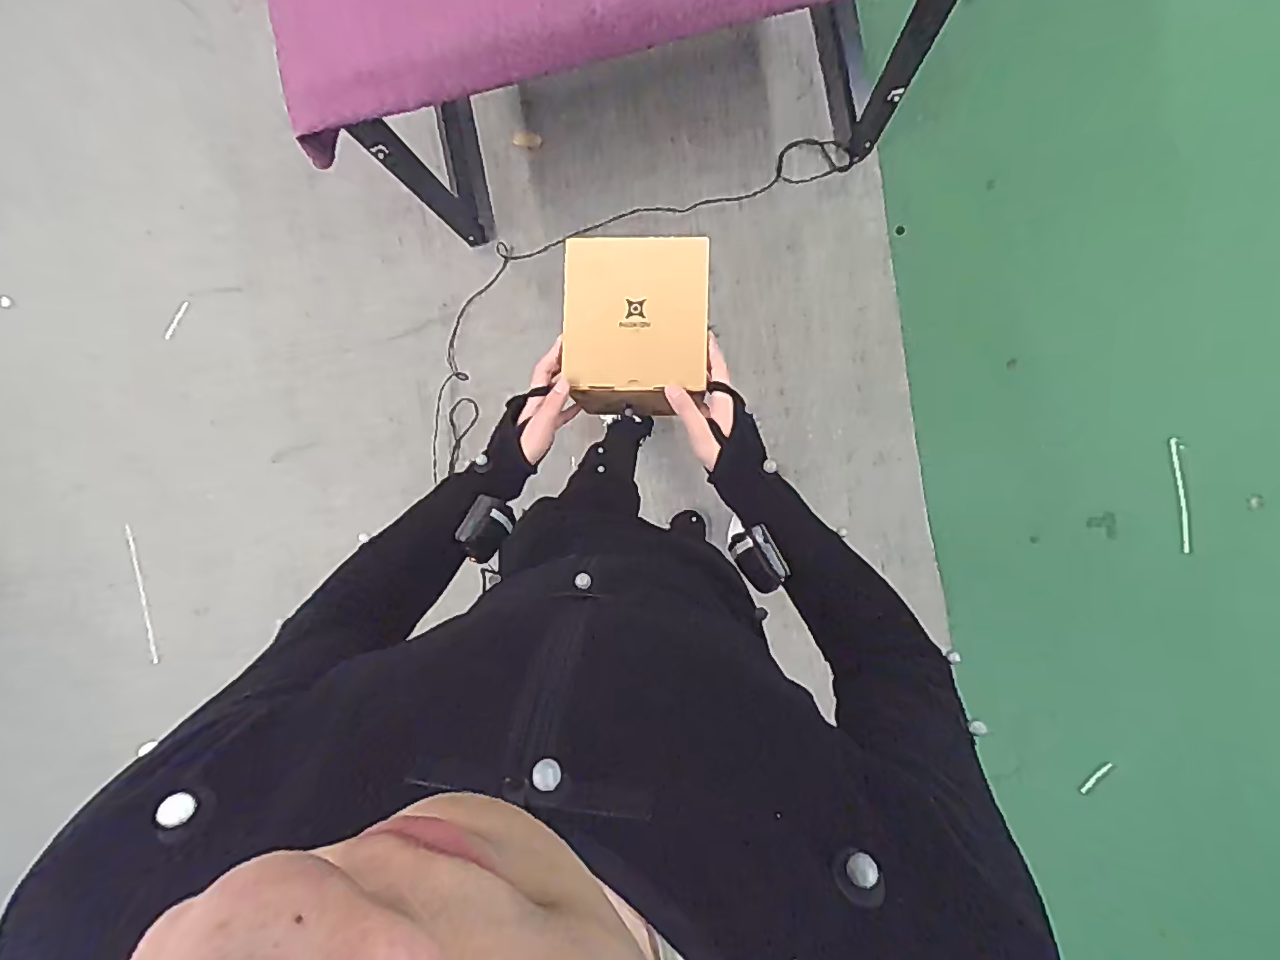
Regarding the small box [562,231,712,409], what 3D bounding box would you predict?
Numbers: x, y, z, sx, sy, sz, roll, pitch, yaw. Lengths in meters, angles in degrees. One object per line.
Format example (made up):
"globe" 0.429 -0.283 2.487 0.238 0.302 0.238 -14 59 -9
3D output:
"small box" -0.001 -0.192 0.686 0.168 0.176 0.179 1 90 3
